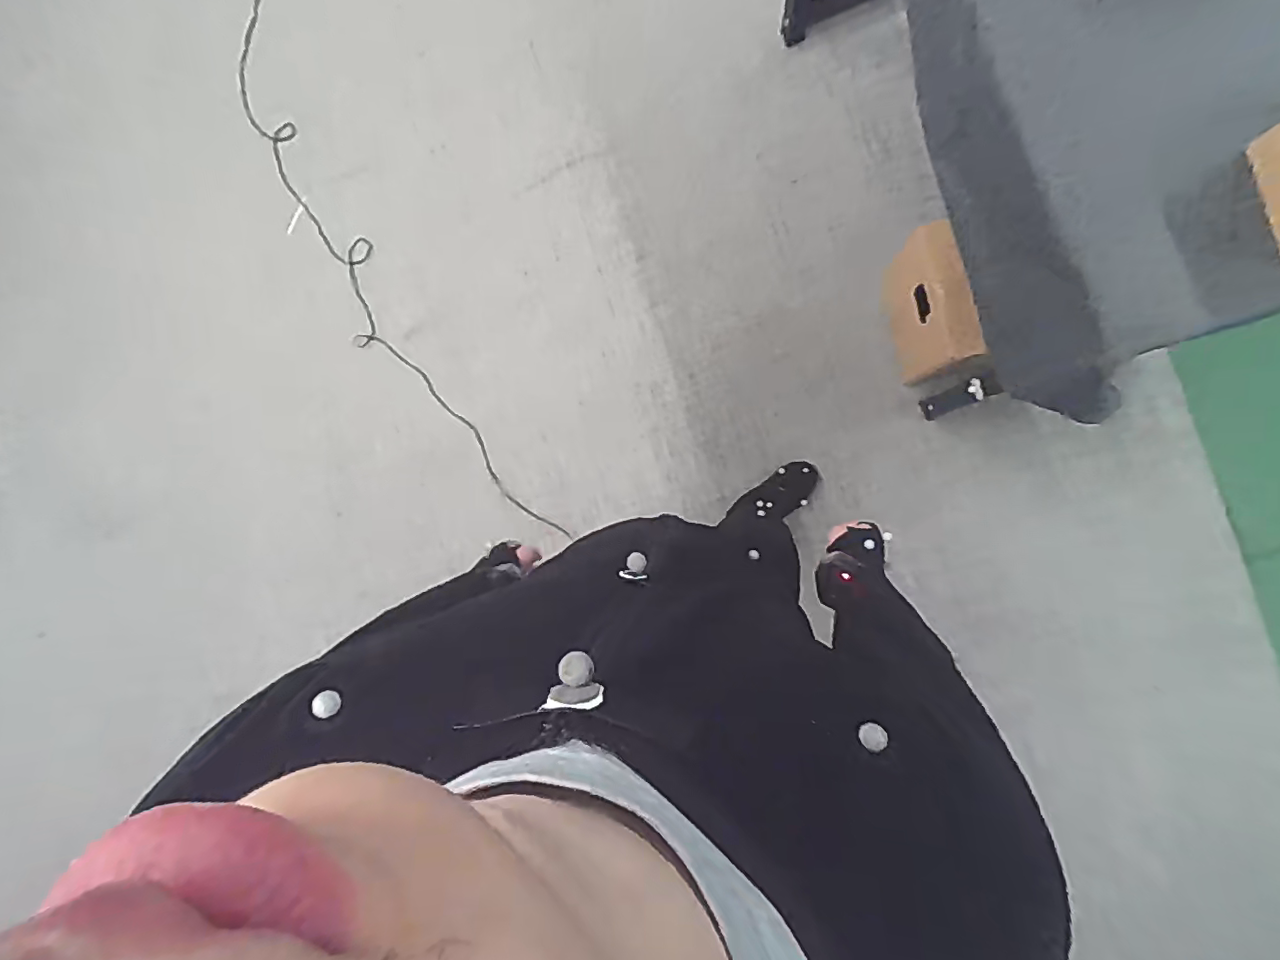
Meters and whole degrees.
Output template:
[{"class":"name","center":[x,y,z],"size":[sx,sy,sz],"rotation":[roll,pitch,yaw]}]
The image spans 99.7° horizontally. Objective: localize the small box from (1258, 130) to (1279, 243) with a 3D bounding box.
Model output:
[{"class":"small box","center":[0.902,-0.385,0.631],"size":[0.168,0.176,0.179],"rotation":[-14,88,7]}]
